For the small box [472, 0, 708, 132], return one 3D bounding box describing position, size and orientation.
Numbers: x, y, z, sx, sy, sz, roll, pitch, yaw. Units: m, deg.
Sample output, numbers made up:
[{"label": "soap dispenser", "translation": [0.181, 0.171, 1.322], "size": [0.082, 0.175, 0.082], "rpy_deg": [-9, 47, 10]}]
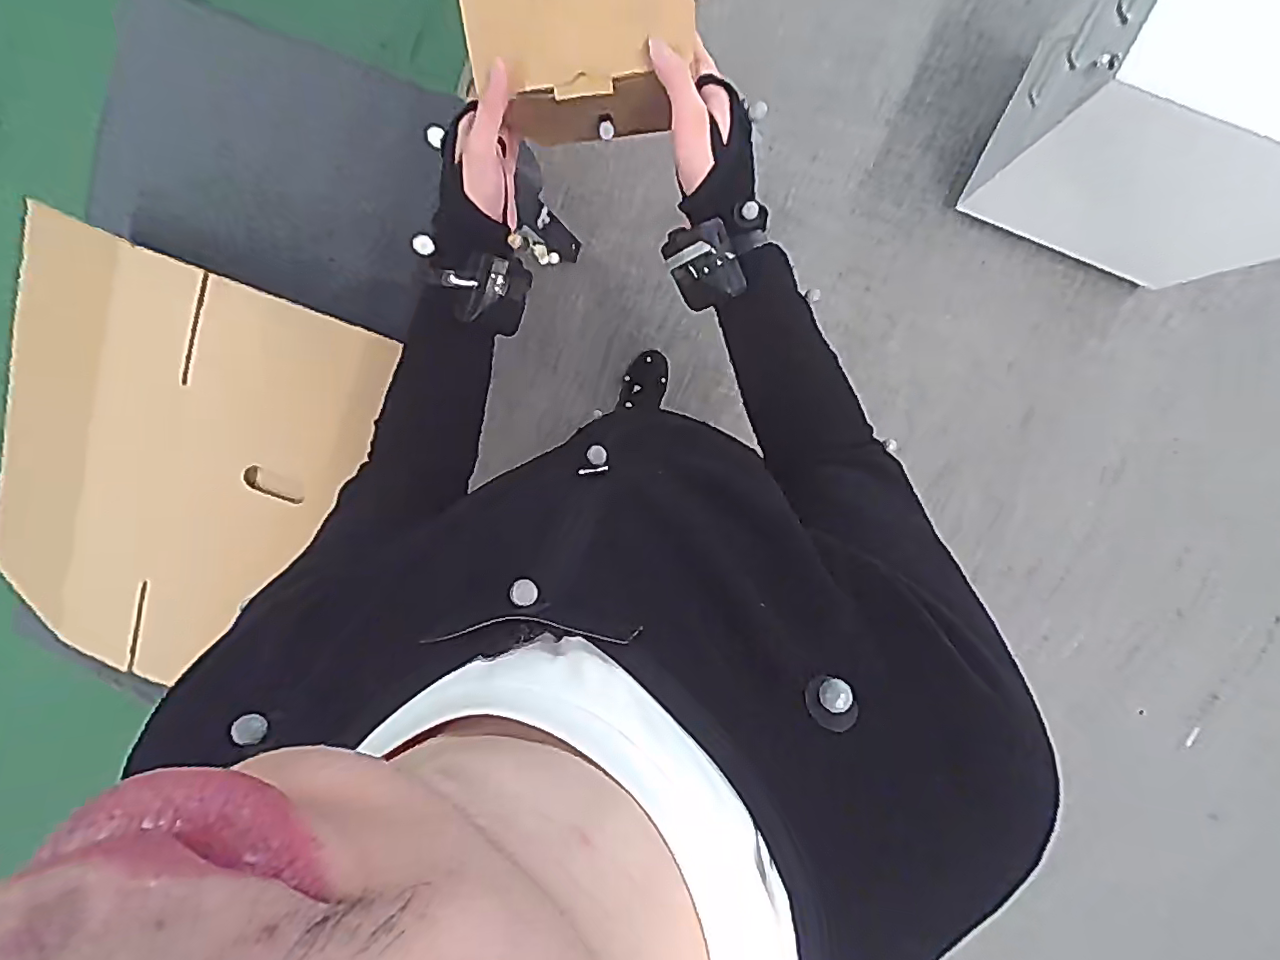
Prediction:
[{"label": "small box", "translation": [-0.033, -0.406, 0.443], "size": [0.168, 0.176, 0.179], "rpy_deg": [-4, 111, 10]}]
